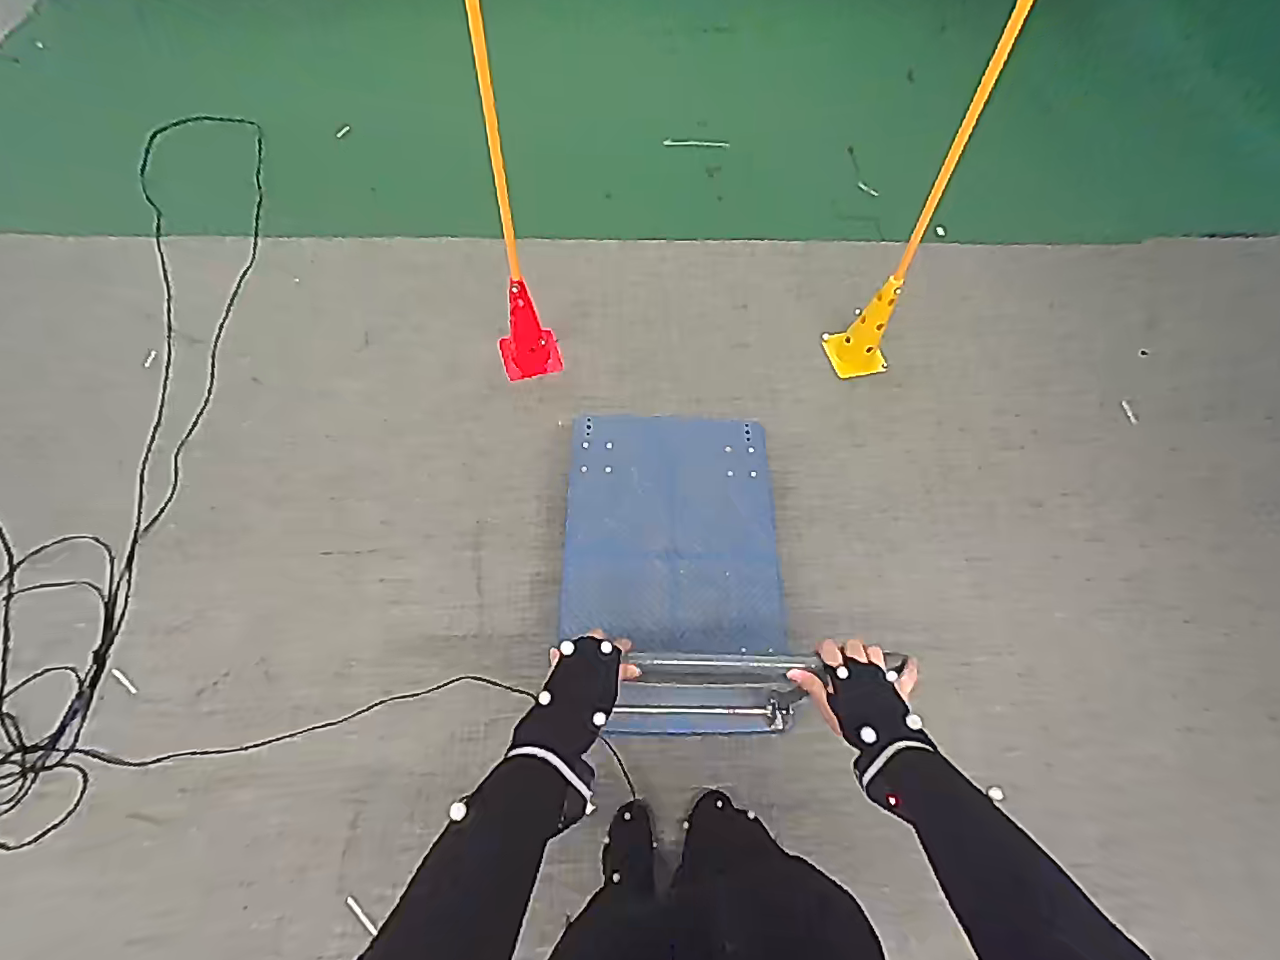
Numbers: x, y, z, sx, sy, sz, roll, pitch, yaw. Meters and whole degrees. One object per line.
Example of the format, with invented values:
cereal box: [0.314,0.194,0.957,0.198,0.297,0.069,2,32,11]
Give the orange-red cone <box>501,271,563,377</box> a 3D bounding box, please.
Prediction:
orange-red cone: [-0.381,-0.533,1.775,0.199,0.360,0.198,-15,65,-9]
